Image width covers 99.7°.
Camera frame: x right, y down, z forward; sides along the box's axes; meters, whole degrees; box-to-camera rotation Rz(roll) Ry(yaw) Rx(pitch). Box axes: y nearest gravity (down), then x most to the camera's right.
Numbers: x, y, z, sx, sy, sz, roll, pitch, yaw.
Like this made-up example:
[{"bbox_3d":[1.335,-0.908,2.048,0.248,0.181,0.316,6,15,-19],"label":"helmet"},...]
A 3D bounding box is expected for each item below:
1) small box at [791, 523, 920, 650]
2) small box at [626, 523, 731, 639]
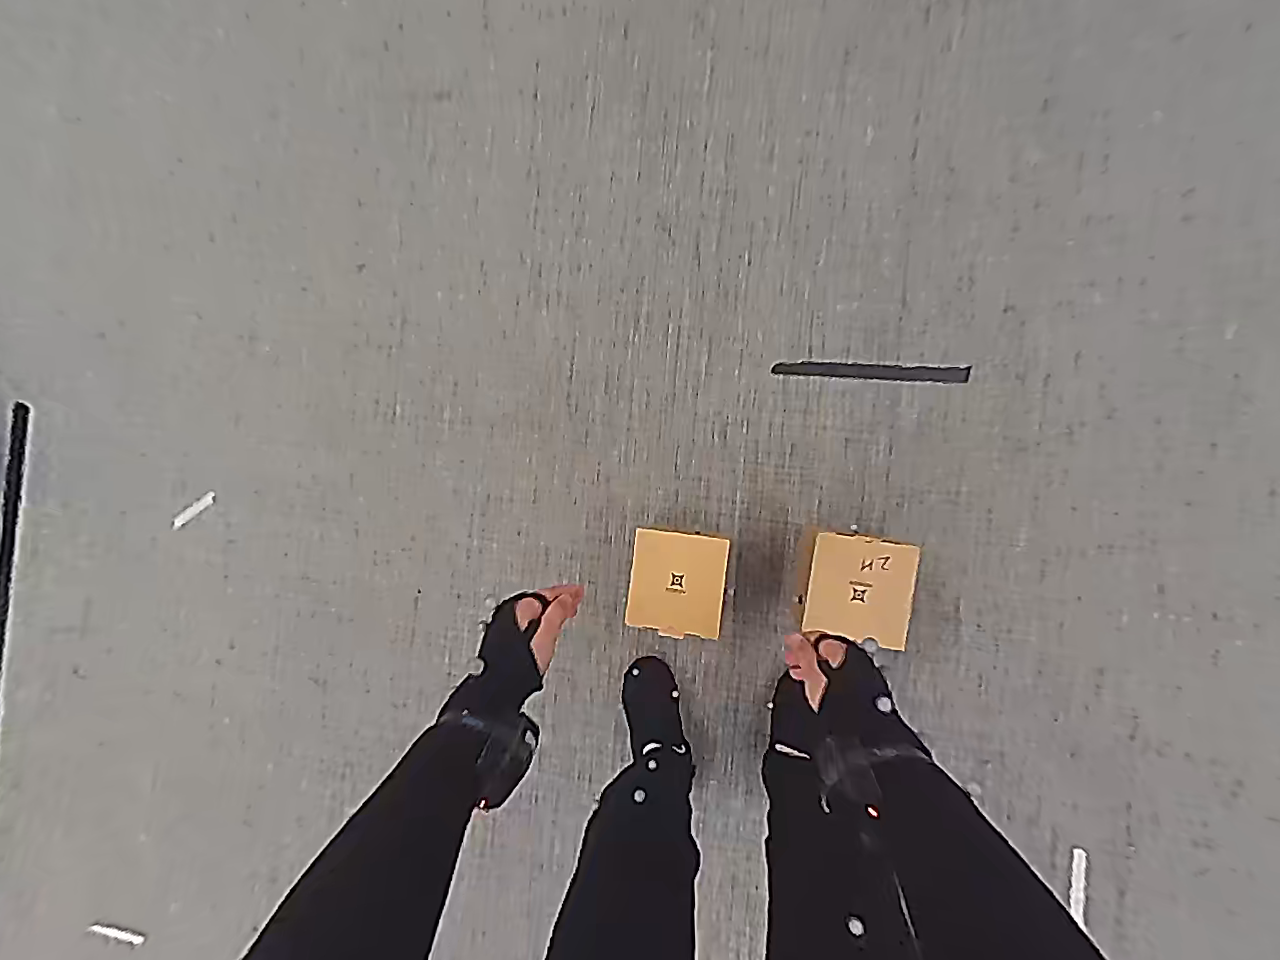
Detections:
[{"bbox_3d":[0.371,0.179,0.962,0.168,0.176,0.179,9,90,8],"label":"small box"},{"bbox_3d":[0.076,0.178,1.009,0.168,0.176,0.179,6,90,9],"label":"small box"}]
